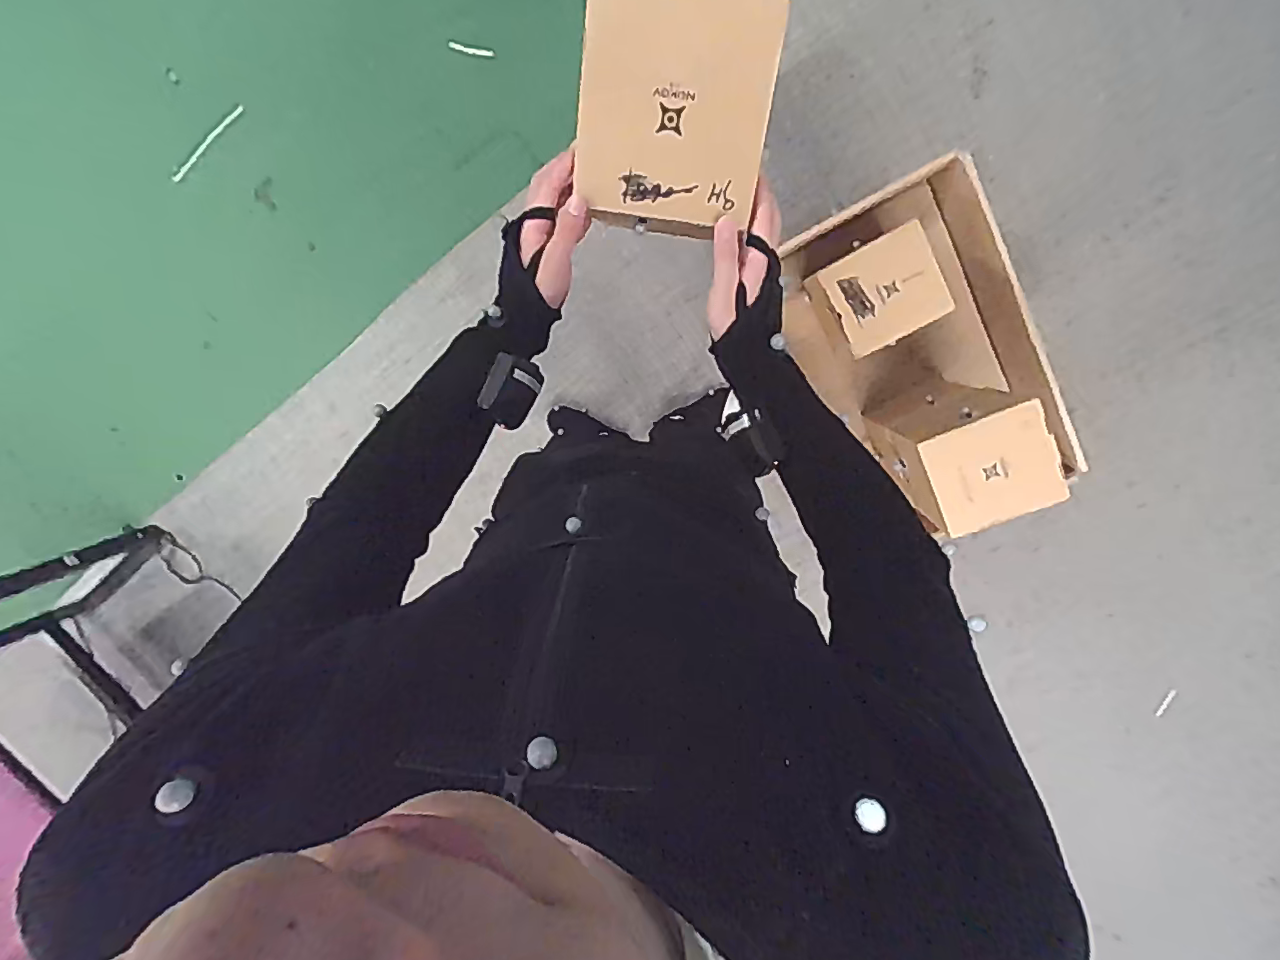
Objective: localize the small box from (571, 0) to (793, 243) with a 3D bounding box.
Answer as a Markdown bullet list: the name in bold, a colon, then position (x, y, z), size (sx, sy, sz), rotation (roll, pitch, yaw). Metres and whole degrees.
- **small box**: position (0.036, -0.343, 0.532), size (0.168, 0.176, 0.179), rotation (9, 112, 2)

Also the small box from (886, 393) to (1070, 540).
- **small box**: position (0.534, -0.031, 0.876), size (0.179, 0.176, 0.168), rotation (-23, 101, 12)

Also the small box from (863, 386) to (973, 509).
- **small box**: position (0.555, -0.069, 1.033), size (0.179, 0.176, 0.168), rotation (-21, 101, 12)
